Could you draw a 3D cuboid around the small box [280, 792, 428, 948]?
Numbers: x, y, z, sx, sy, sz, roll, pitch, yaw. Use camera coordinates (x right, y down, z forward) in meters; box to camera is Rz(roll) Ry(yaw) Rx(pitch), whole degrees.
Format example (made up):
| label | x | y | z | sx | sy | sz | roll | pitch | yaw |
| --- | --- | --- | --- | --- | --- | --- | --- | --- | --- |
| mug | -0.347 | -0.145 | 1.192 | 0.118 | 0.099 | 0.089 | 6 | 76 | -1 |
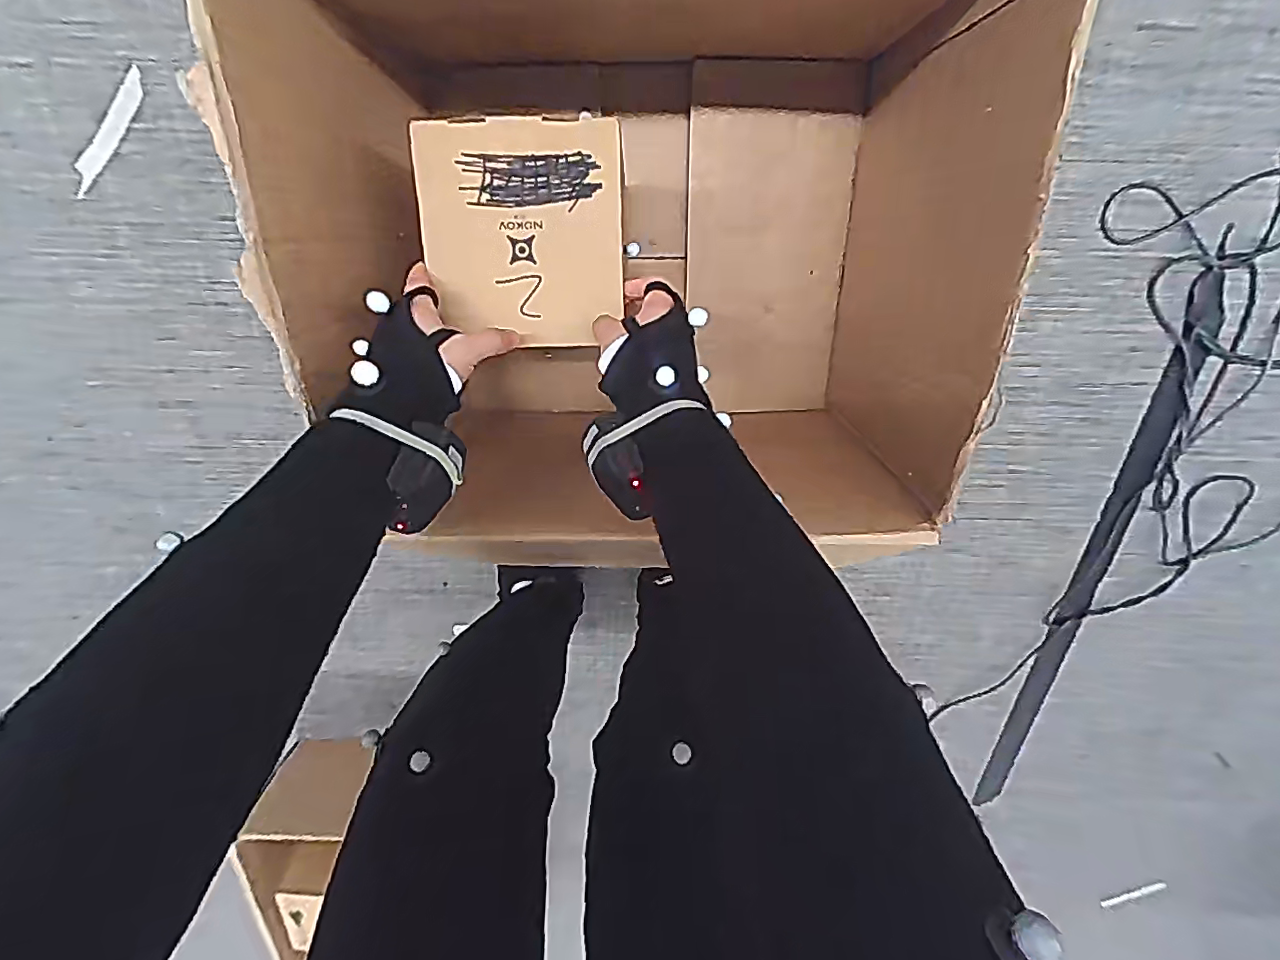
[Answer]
| label | x | y | z | sx | sy | sz | roll | pitch | yaw |
| --- | --- | --- | --- | --- | --- | --- | --- | --- | --- |
| small box | -0.483 | 0.677 | 0.948 | 0.179 | 0.176 | 0.168 | 4 | 115 | -4 |
